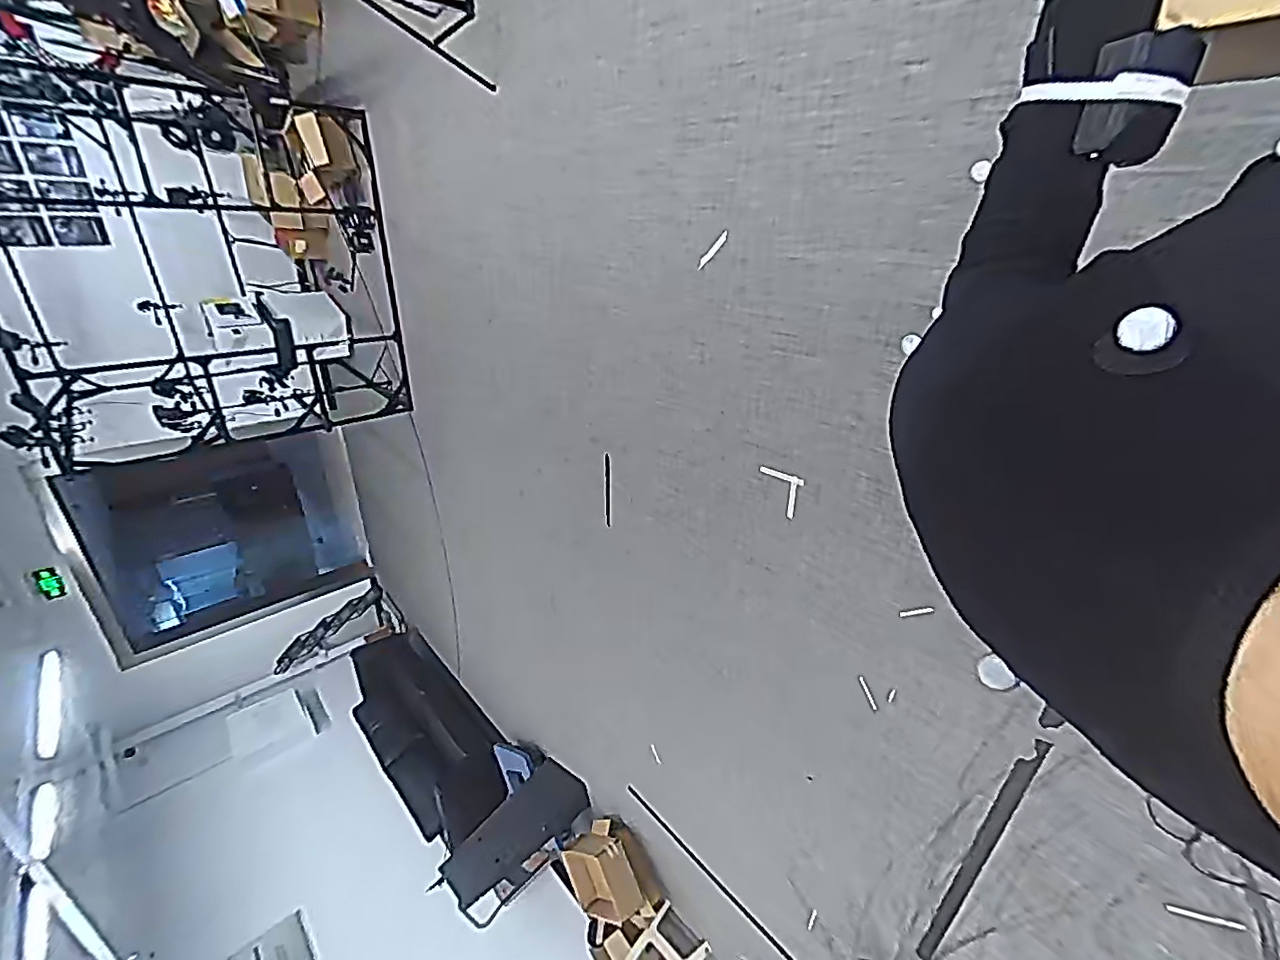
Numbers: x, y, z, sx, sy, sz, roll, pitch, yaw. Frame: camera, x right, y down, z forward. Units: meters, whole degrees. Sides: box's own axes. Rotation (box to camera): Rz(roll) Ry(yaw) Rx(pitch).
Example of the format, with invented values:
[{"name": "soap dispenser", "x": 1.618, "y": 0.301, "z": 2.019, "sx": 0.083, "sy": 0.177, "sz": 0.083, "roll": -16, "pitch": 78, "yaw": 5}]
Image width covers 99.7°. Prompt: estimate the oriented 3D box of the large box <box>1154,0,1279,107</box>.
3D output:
[{"name": "large box", "x": 0.558, "y": -0.401, "z": 0.247, "sx": 0.408, "sy": 0.320, "sz": 0.320, "roll": 21, "pitch": 125, "yaw": 40}]
